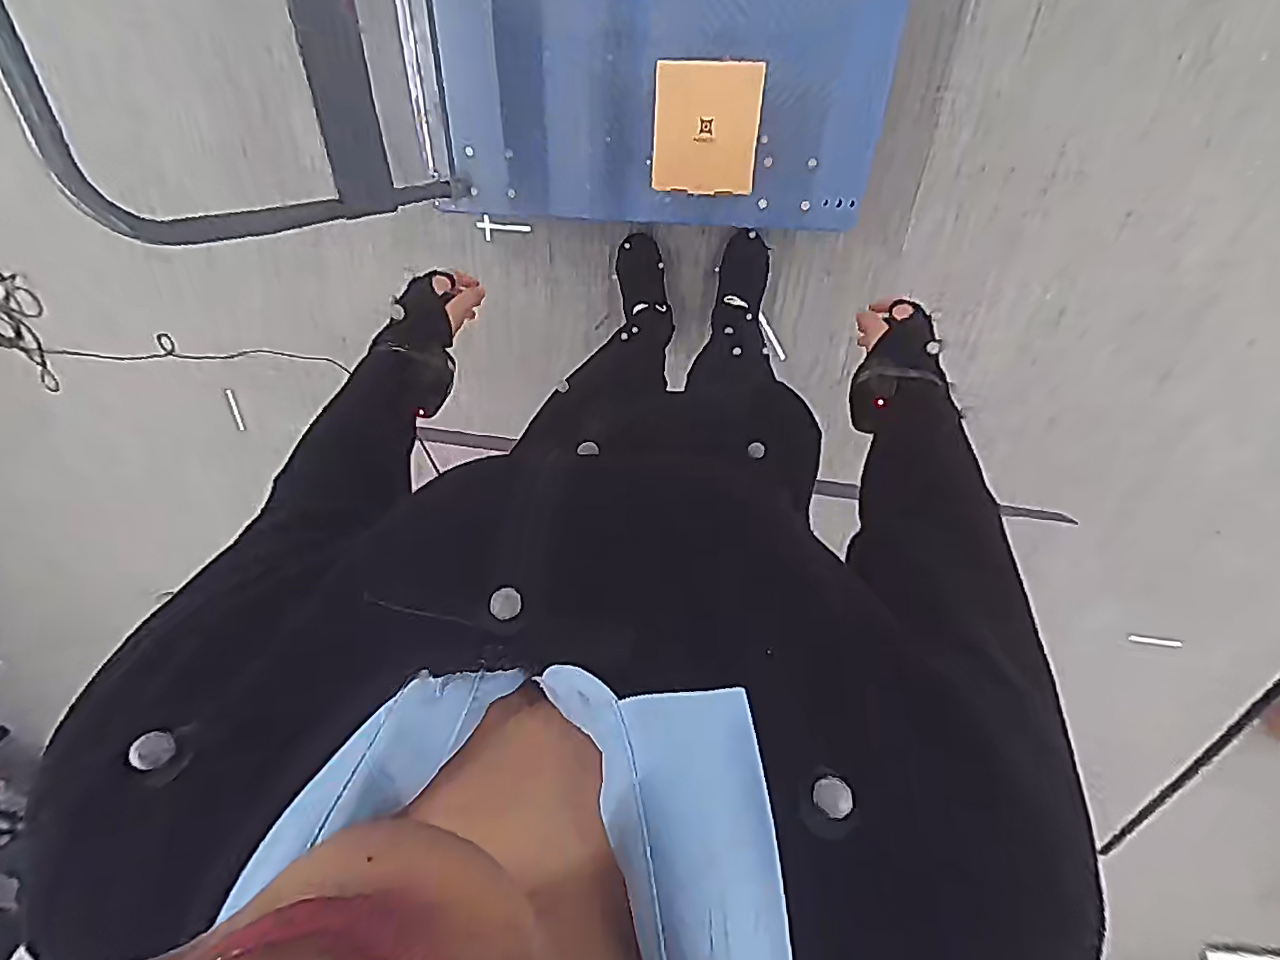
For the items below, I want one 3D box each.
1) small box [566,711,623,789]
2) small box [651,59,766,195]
[{"bbox_3d":[-0.161,0.966,1.941,0.168,0.176,0.179,11,122,2],"label":"small box"},{"bbox_3d":[0.112,-0.590,0.915,0.168,0.176,0.179,6,122,6],"label":"small box"}]
